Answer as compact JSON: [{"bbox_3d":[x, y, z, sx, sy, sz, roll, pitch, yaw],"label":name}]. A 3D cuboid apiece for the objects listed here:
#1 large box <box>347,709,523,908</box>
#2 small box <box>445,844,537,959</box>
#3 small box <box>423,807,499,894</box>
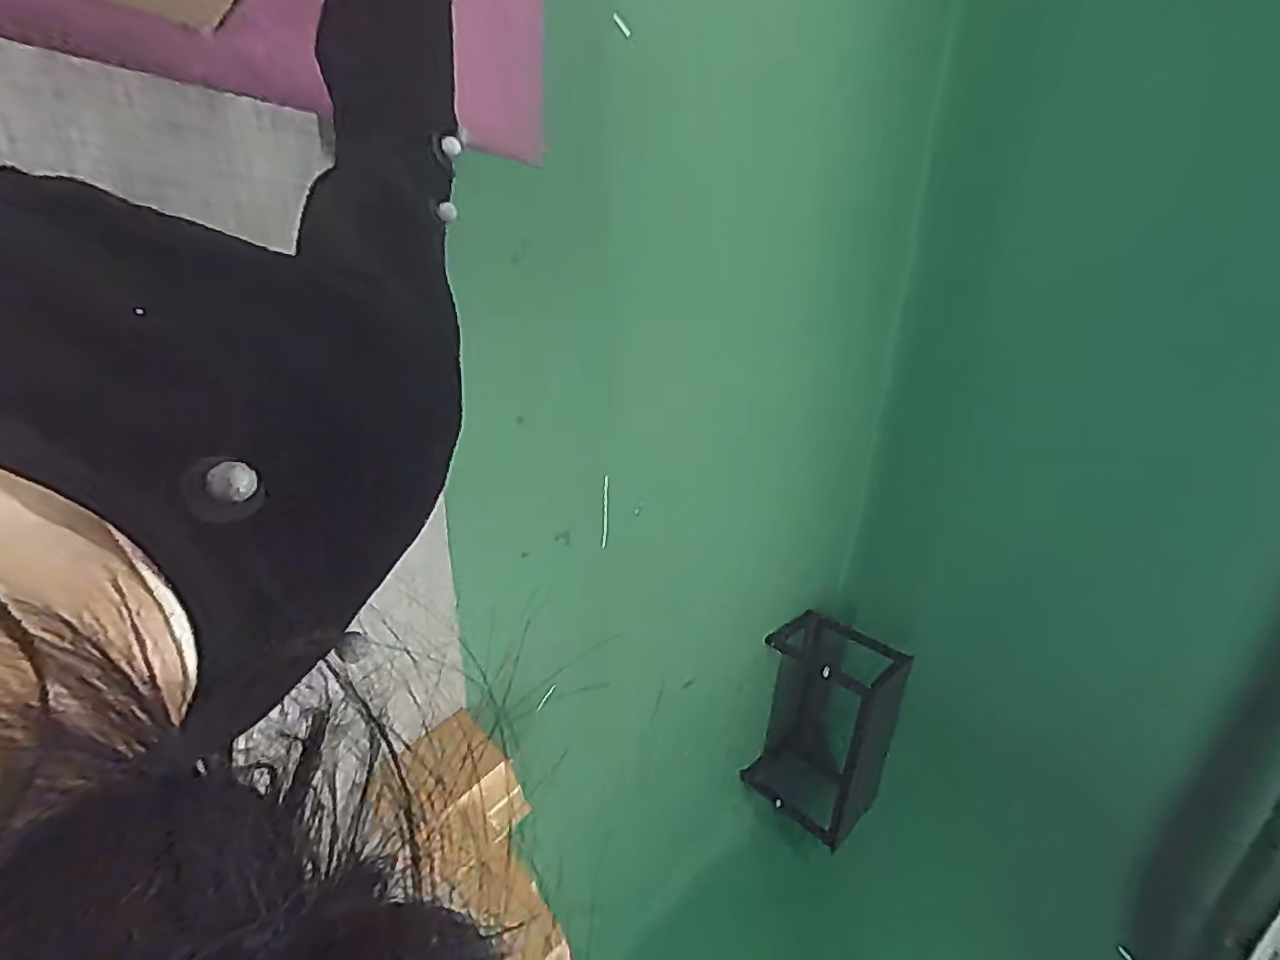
[{"bbox_3d":[-0.676,1.076,1.811,0.408,0.320,0.320,-33,128,-35],"label":"large box"},{"bbox_3d":[-0.415,1.177,1.512,0.179,0.176,0.168,-24,122,-38],"label":"small box"},{"bbox_3d":[-0.526,1.126,1.619,0.168,0.176,0.179,-26,123,-37],"label":"small box"}]
